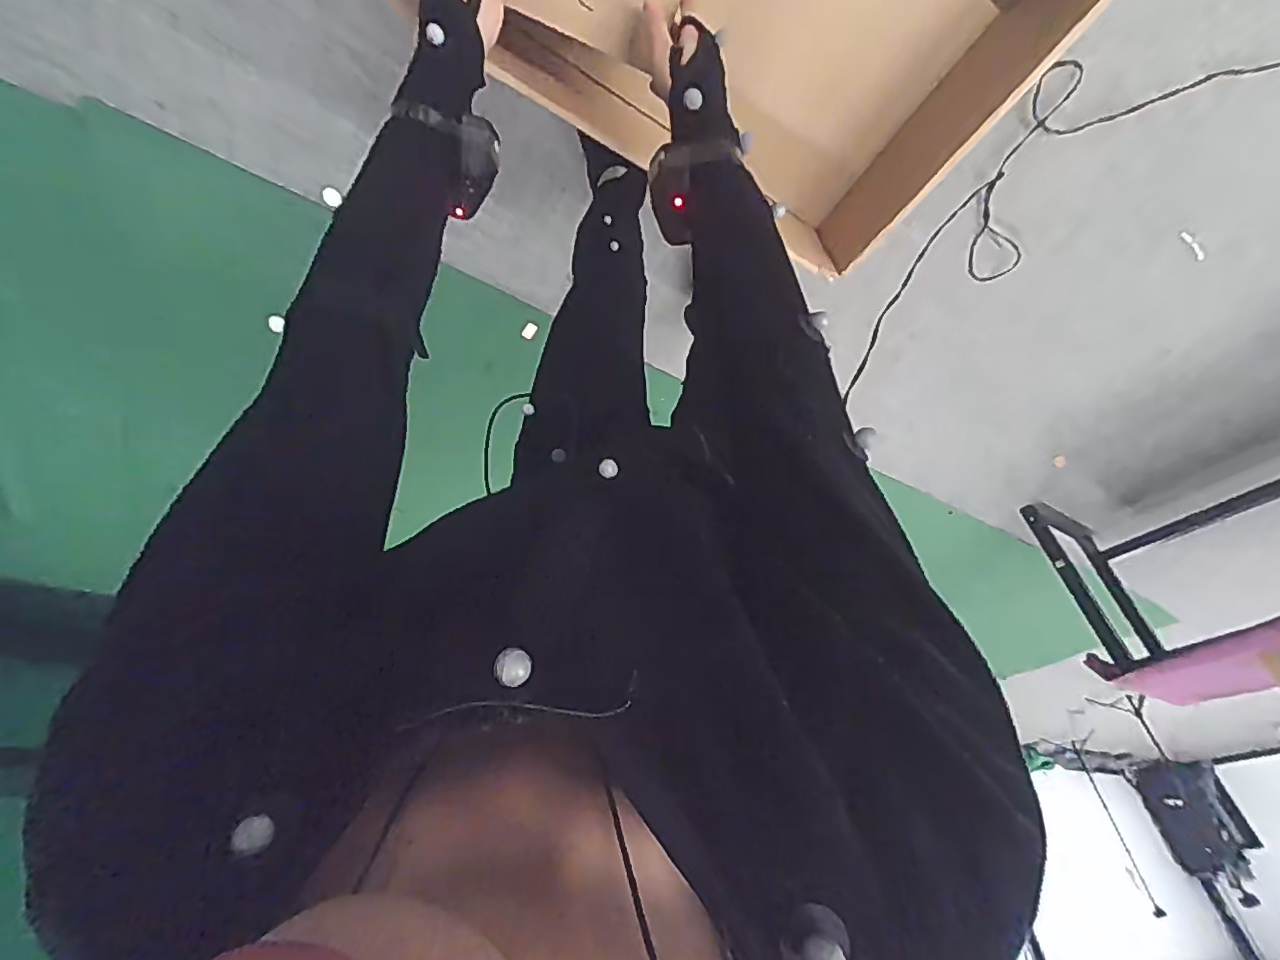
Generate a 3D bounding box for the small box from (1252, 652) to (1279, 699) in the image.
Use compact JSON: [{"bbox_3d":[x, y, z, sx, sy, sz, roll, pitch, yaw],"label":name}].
[{"bbox_3d":[1.986,0.598,1.594,0.179,0.176,0.168,21,134,-29],"label":"small box"}]
